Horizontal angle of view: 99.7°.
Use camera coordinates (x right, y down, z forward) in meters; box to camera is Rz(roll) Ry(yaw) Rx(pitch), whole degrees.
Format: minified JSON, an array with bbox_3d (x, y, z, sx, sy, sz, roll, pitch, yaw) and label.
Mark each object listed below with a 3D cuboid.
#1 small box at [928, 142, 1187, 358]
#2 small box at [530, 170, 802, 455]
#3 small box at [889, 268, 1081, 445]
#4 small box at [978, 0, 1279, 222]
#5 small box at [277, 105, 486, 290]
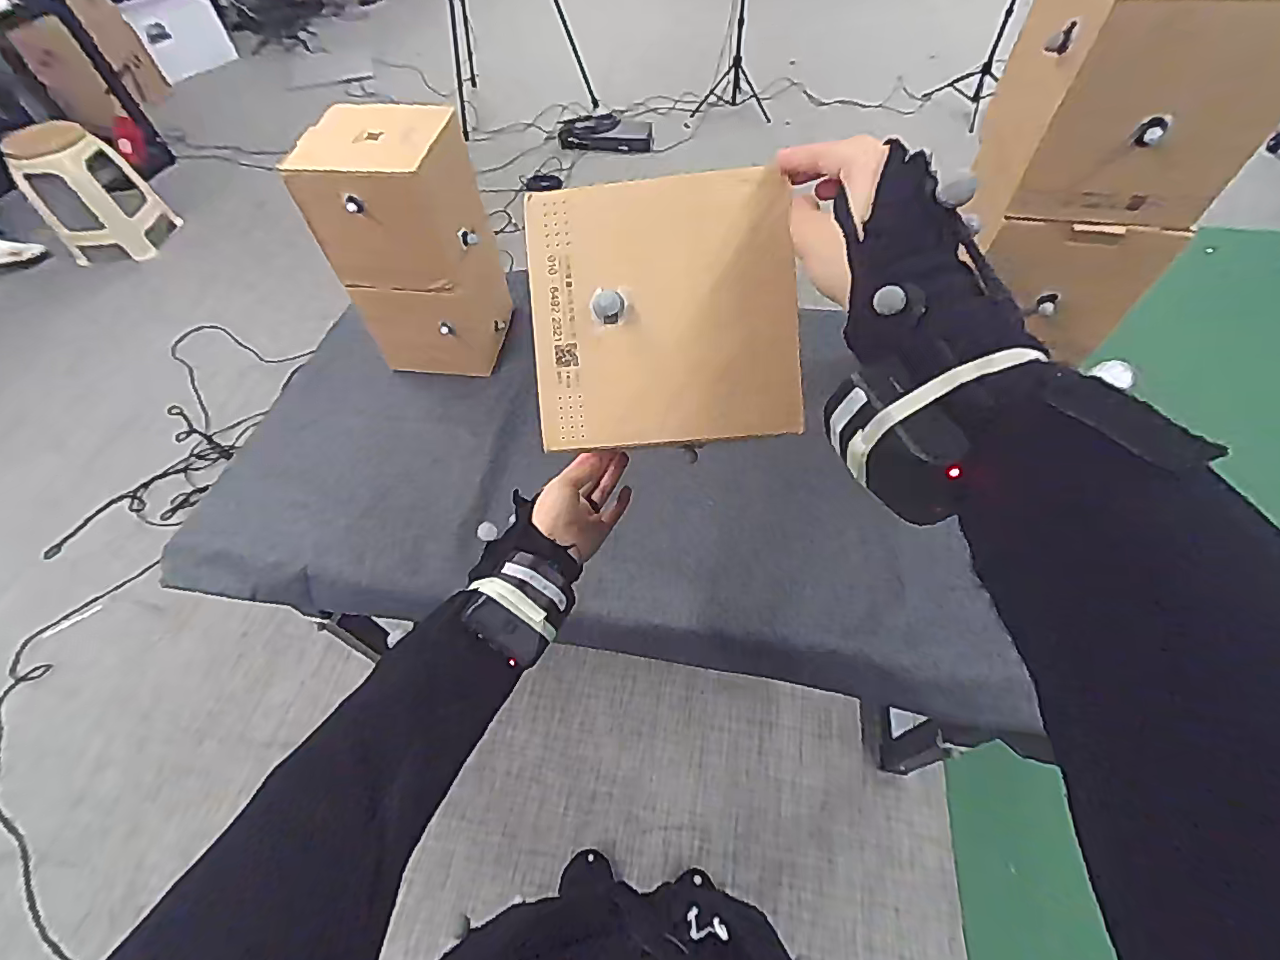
[{"bbox_3d":[0.451,-0.264,0.623,0.168,0.176,0.179,10,58,9],"label":"small box"},{"bbox_3d":[0.021,-0.108,0.420,0.176,0.179,0.168,-4,93,6],"label":"small box"},{"bbox_3d":[0.463,-0.176,0.761,0.168,0.176,0.179,9,57,9],"label":"small box"},{"bbox_3d":[0.437,-0.358,0.487,0.168,0.176,0.179,8,57,8],"label":"small box"},{"bbox_3d":[-0.333,-0.382,0.740,0.179,0.176,0.168,5,58,4],"label":"small box"}]
